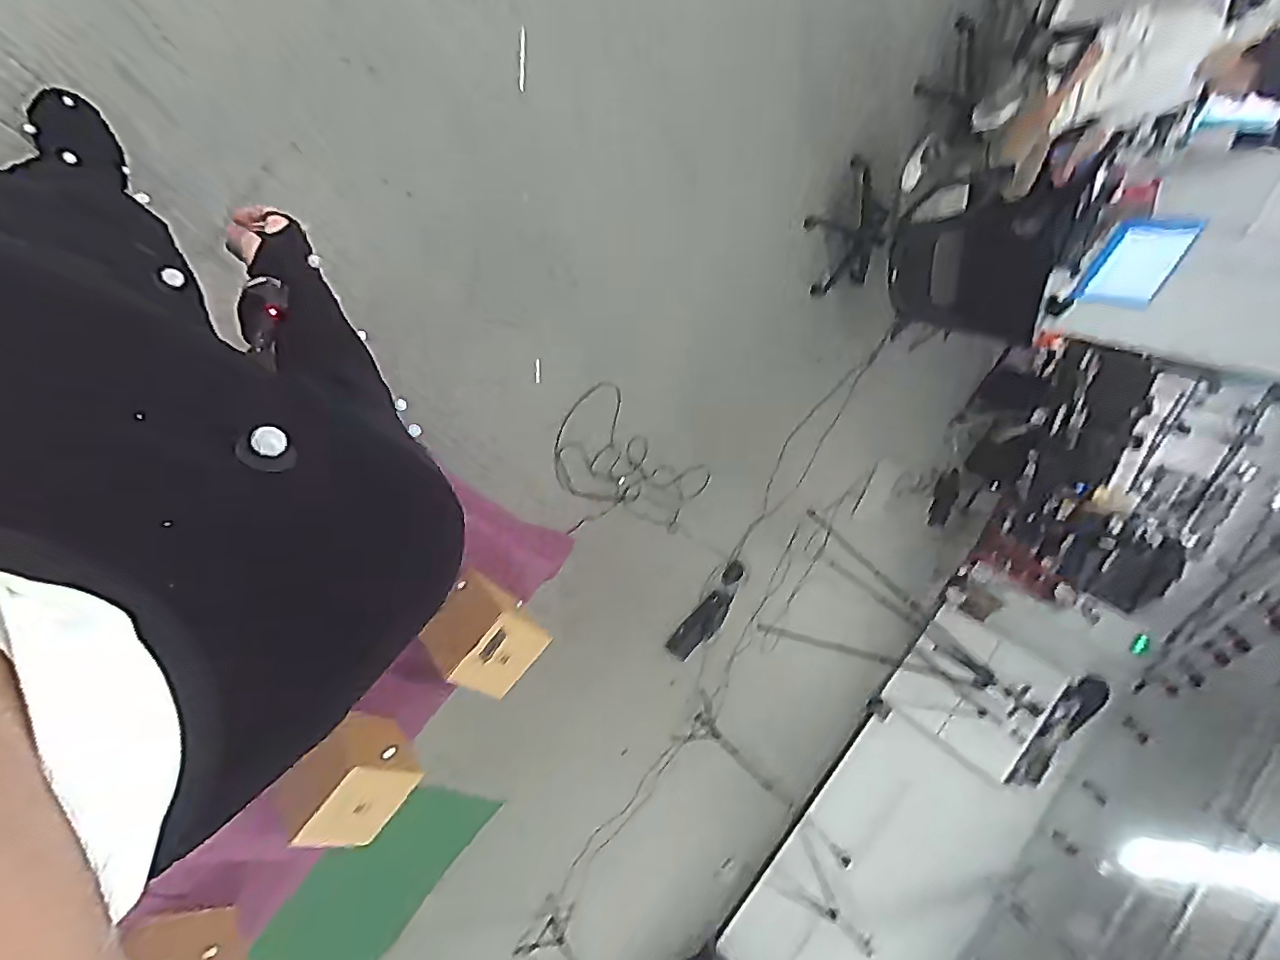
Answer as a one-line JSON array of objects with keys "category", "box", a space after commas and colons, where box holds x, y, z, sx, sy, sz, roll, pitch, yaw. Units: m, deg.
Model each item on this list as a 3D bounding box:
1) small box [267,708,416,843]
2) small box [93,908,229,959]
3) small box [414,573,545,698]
[{"category": "small box", "box": [-0.593, 0.583, 1.074, 0.168, 0.176, 0.179, -50, 140, -9]}, {"category": "small box", "box": [-0.896, 0.937, 0.997, 0.168, 0.176, 0.179, -52, 141, -8]}, {"category": "small box", "box": [-0.343, 0.324, 1.150, 0.168, 0.176, 0.179, -48, 139, -9]}]
